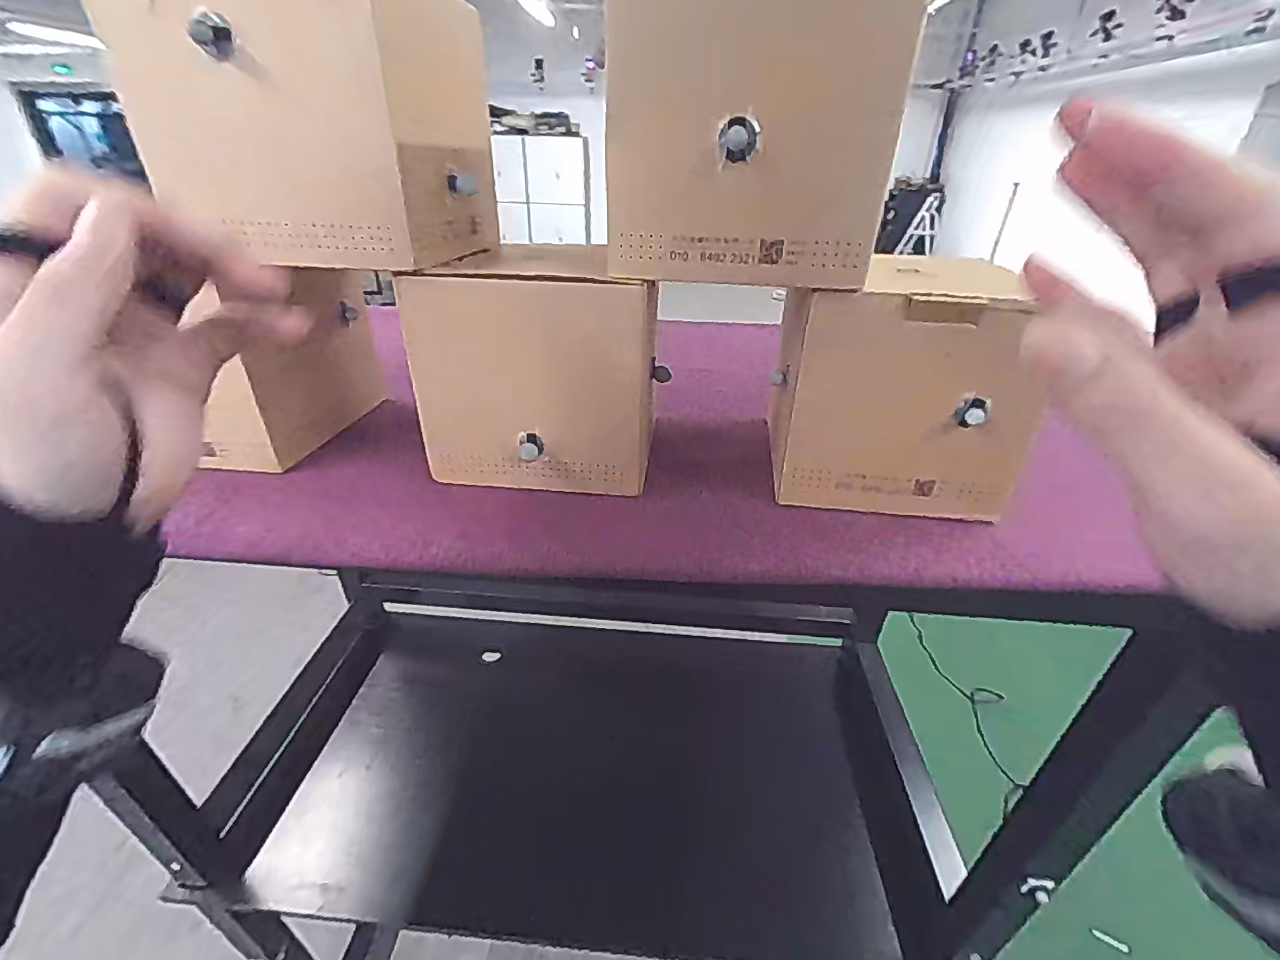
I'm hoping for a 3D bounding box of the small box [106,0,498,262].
[{"bbox_3d":[-0.219,-0.258,0.391,0.179,0.176,0.168,5,31,5],"label":"small box"}]

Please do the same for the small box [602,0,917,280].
[{"bbox_3d":[0.074,-0.242,0.374,0.168,0.176,0.179,6,31,7],"label":"small box"}]

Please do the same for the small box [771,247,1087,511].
[{"bbox_3d":[0.203,-0.090,0.445,0.168,0.176,0.179,5,30,8],"label":"small box"}]
